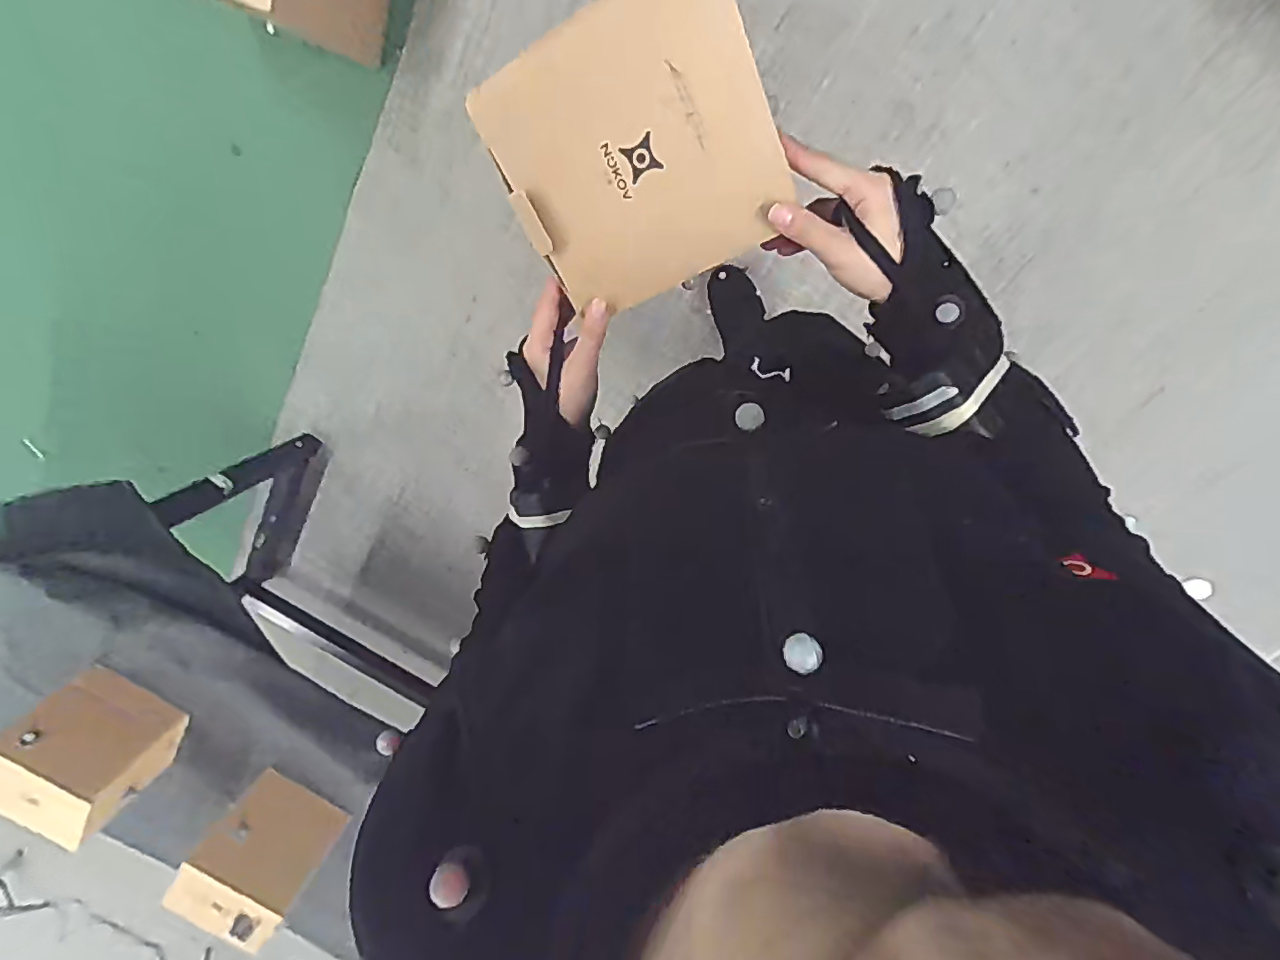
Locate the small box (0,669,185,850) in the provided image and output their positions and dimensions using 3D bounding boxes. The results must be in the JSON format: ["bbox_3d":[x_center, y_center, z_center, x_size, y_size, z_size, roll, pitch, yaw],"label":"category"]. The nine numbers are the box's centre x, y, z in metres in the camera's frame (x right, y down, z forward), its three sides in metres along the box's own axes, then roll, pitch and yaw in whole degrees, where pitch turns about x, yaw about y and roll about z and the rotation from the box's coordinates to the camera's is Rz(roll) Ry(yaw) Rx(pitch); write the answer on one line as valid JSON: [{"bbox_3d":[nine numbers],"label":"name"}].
[{"bbox_3d":[-0.901,0.445,0.879,0.179,0.176,0.168,35,114,-6],"label":"small box"}]
